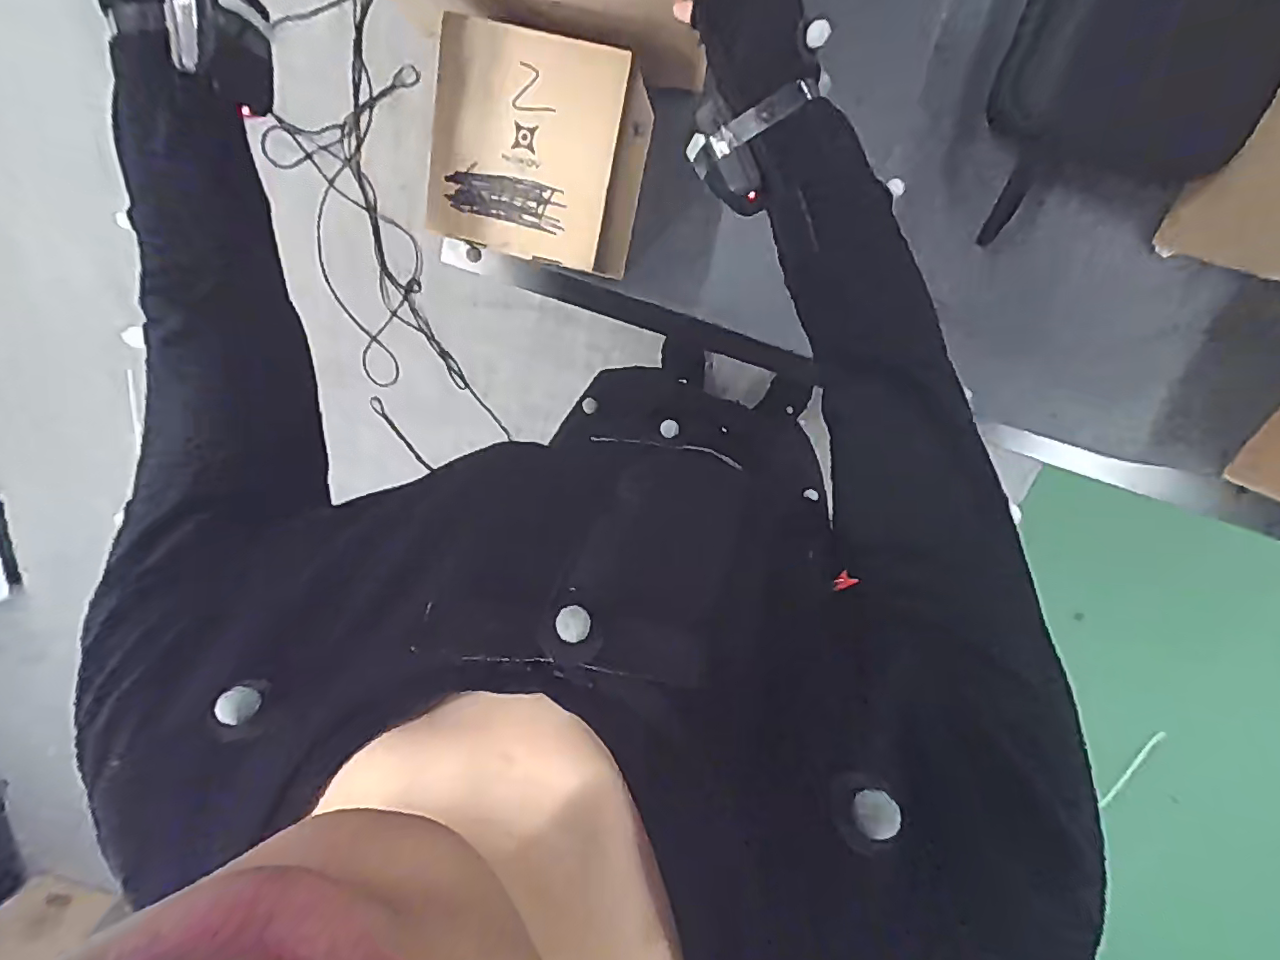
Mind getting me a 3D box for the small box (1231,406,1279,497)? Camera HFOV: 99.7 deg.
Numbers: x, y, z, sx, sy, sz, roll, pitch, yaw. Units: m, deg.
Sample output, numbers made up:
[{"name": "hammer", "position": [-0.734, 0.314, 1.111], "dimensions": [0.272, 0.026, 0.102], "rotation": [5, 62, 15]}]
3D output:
[{"name": "small box", "position": [0.777, -0.026, 0.533], "dimensions": [0.168, 0.176, 0.179], "rotation": [23, 113, 1]}]
